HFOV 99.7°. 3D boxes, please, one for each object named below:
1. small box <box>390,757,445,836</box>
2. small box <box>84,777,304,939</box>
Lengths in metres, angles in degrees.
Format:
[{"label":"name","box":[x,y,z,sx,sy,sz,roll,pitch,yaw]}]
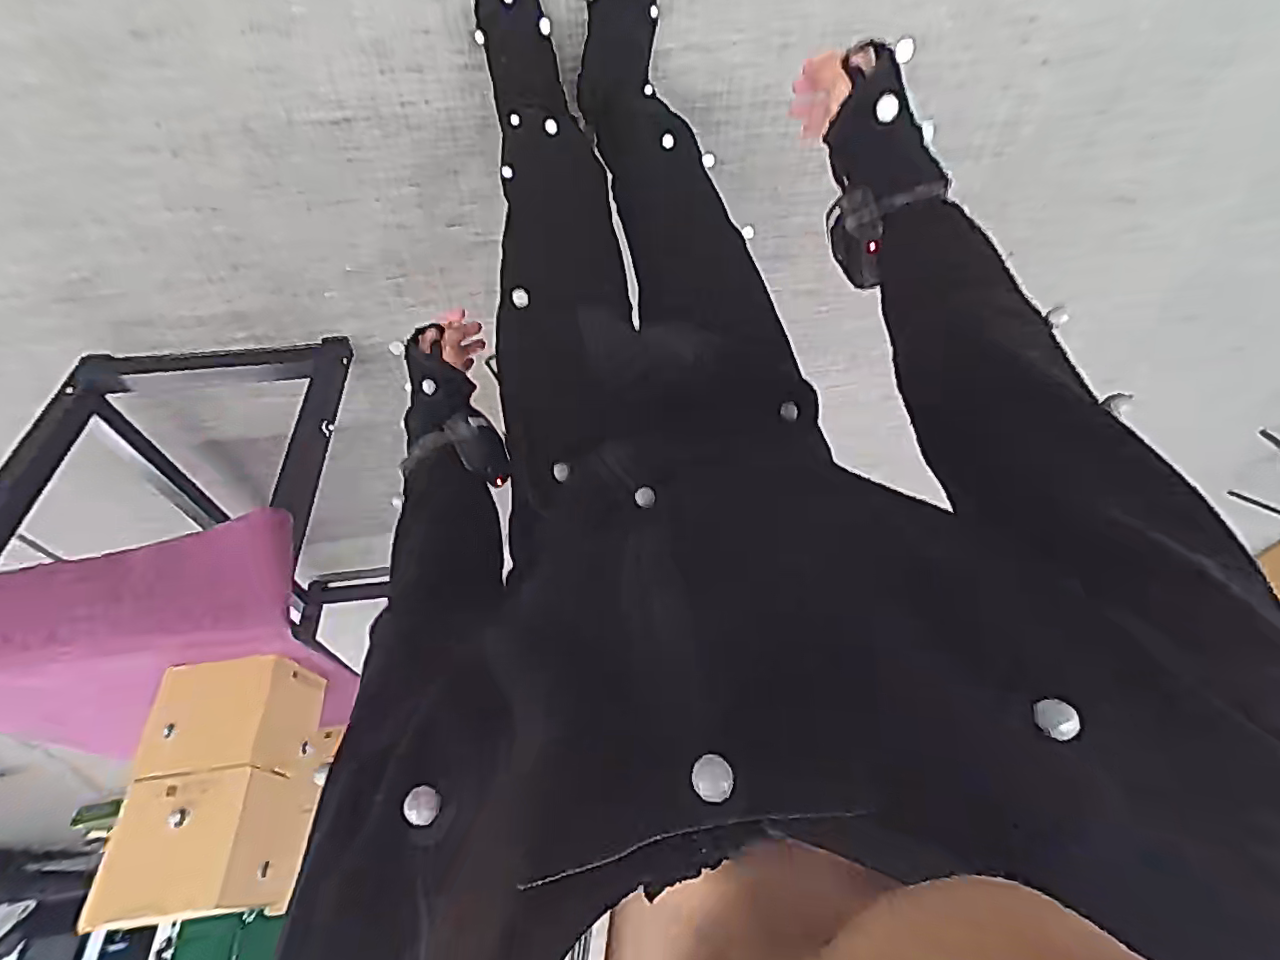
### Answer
[{"label":"small box","box":[-0.669,0.909,1.555,0.179,0.176,0.168,-5,142,-5]},{"label":"small box","box":[-0.630,0.549,0.798,0.168,0.176,0.179,-4,144,-7]}]
